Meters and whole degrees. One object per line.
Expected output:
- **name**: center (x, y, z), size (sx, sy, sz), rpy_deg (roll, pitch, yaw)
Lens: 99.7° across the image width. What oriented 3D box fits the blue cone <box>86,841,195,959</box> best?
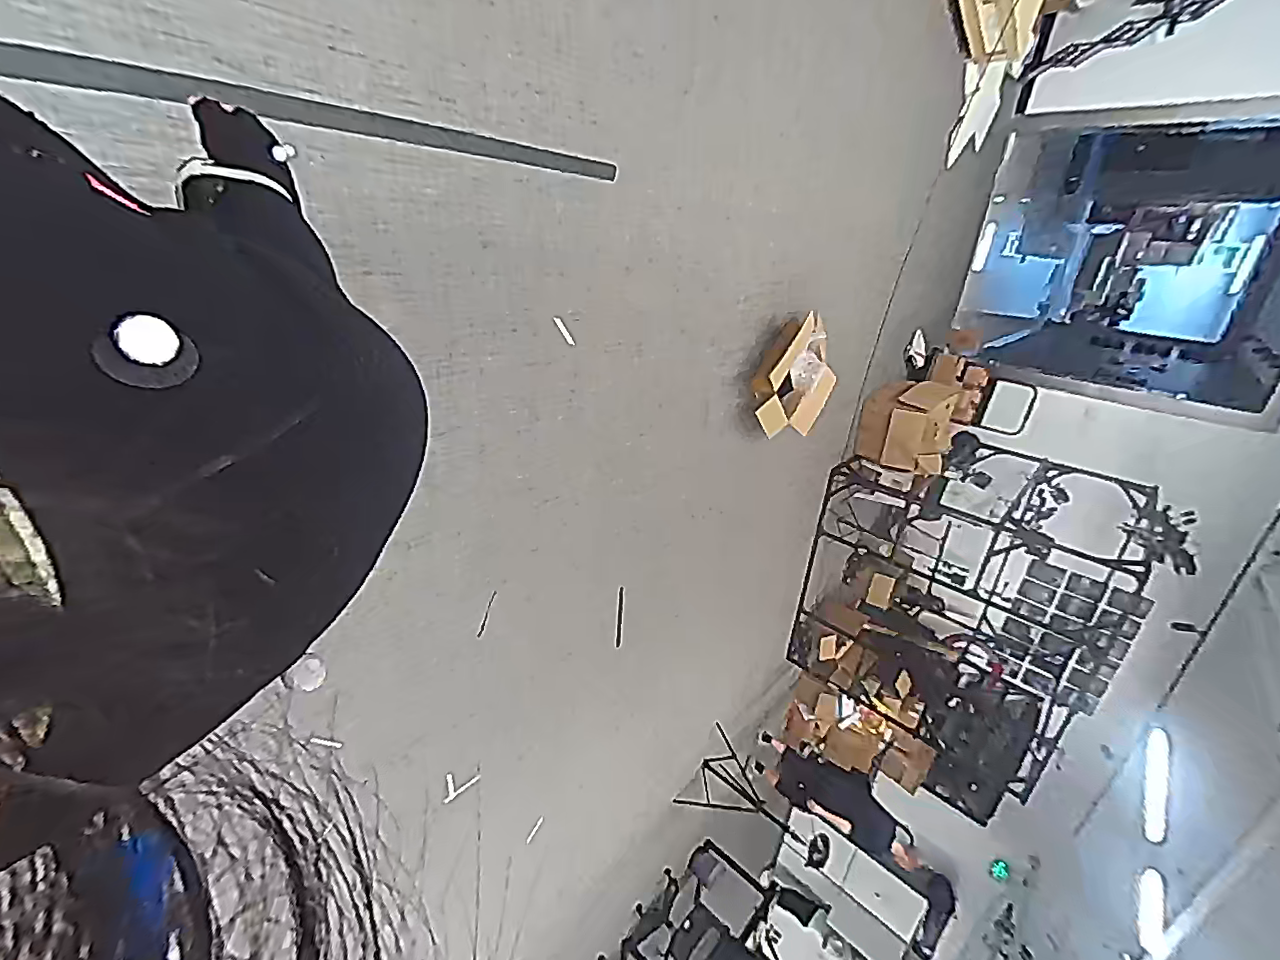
- **blue cone**: center (-1.190, 1.128, 1.330), size (0.193, 0.380, 0.192), rpy_deg (-21, 125, -43)
